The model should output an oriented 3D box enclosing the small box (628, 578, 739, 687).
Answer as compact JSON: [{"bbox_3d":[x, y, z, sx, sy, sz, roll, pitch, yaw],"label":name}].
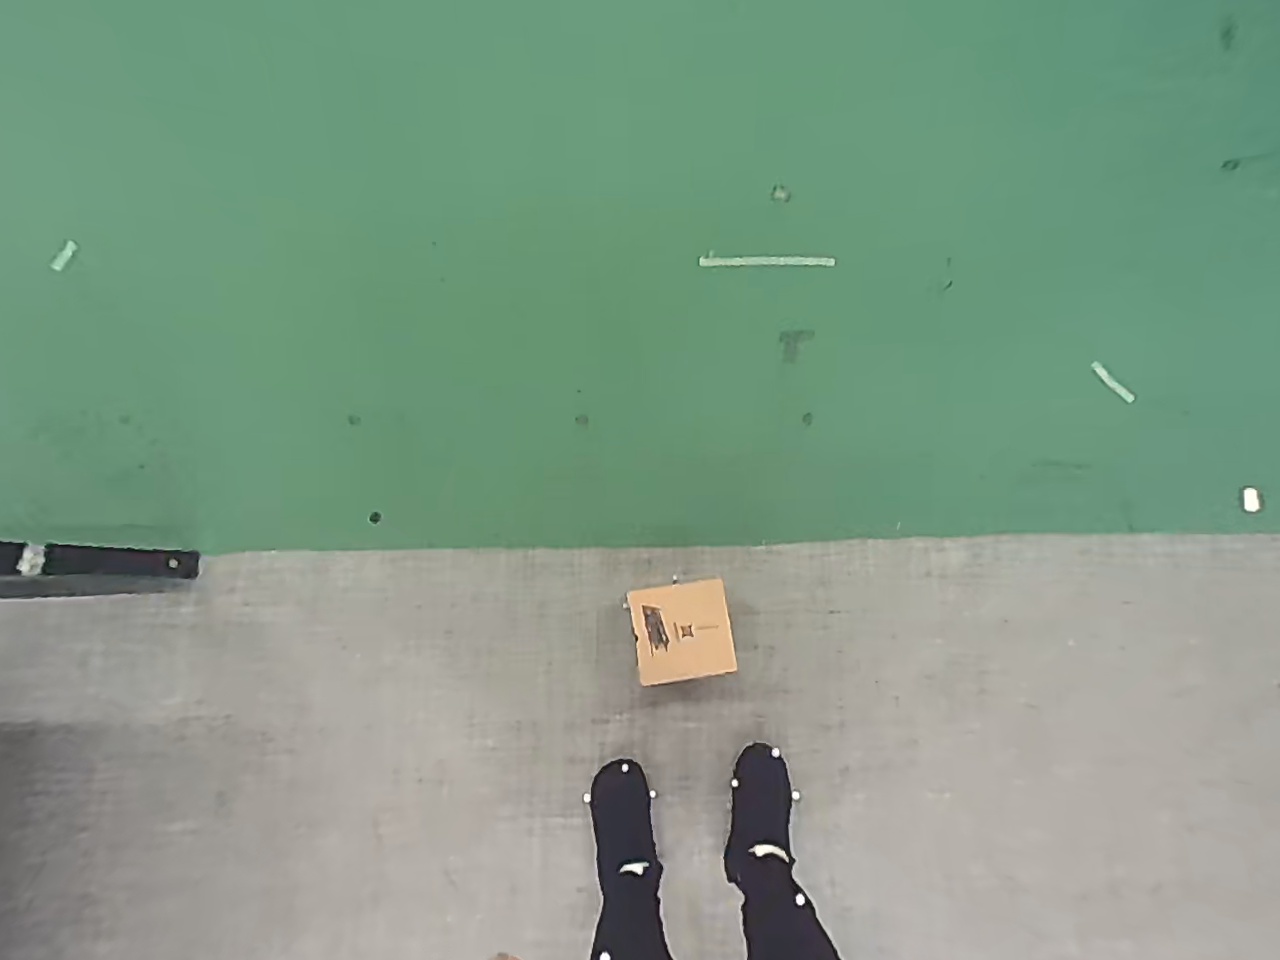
[{"bbox_3d":[0.075,0.280,1.020,0.179,0.176,0.168,-8,81,-2],"label":"small box"}]
